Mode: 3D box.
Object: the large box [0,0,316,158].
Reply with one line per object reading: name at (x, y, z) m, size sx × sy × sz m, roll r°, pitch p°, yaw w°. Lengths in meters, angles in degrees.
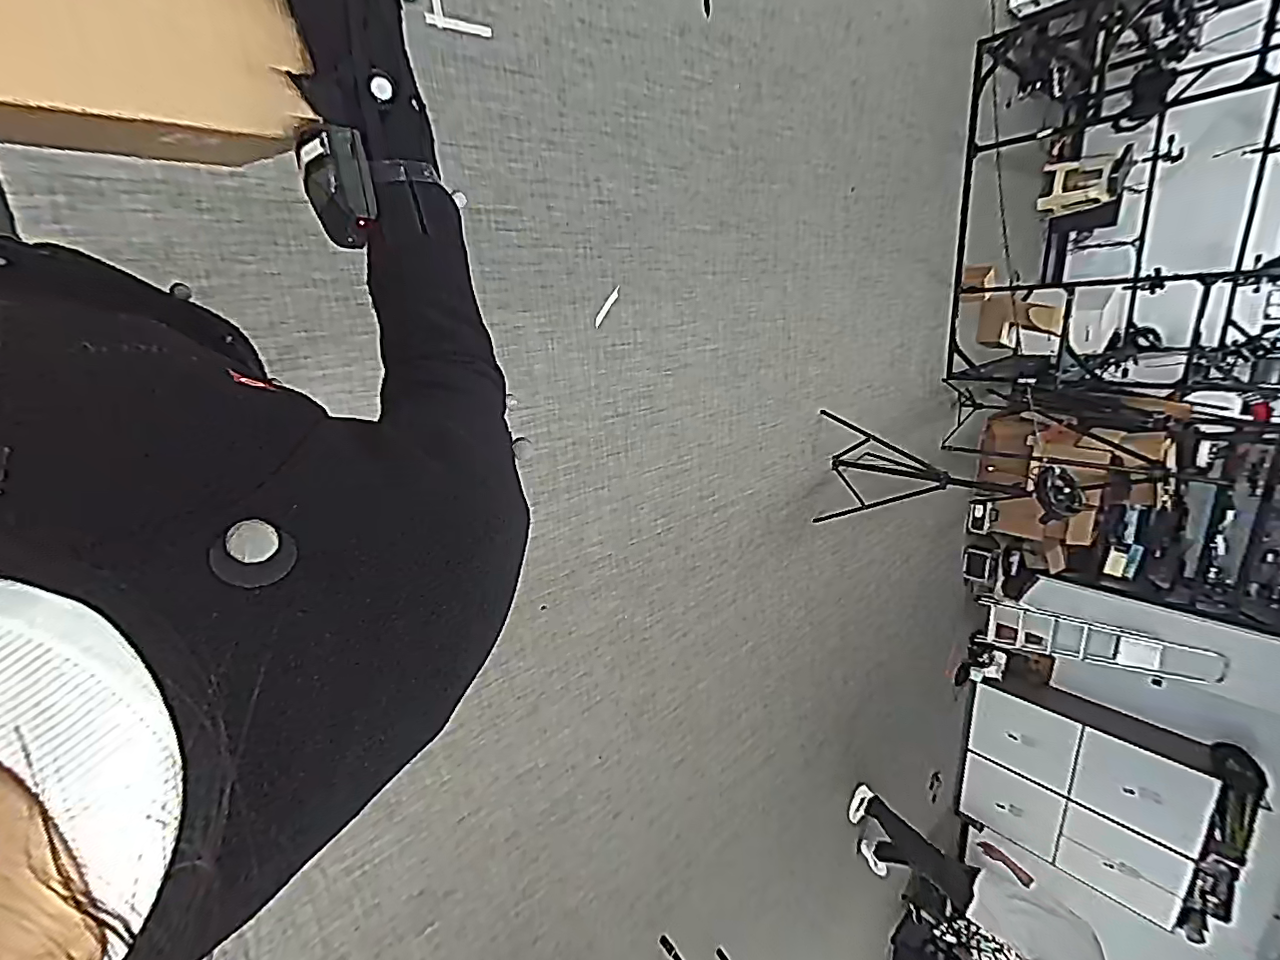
large box at (-0.472, -0.381, 0.296) m, size 0.408 × 0.320 × 0.320 m, roll -19°, pitch 123°, yaw -39°
